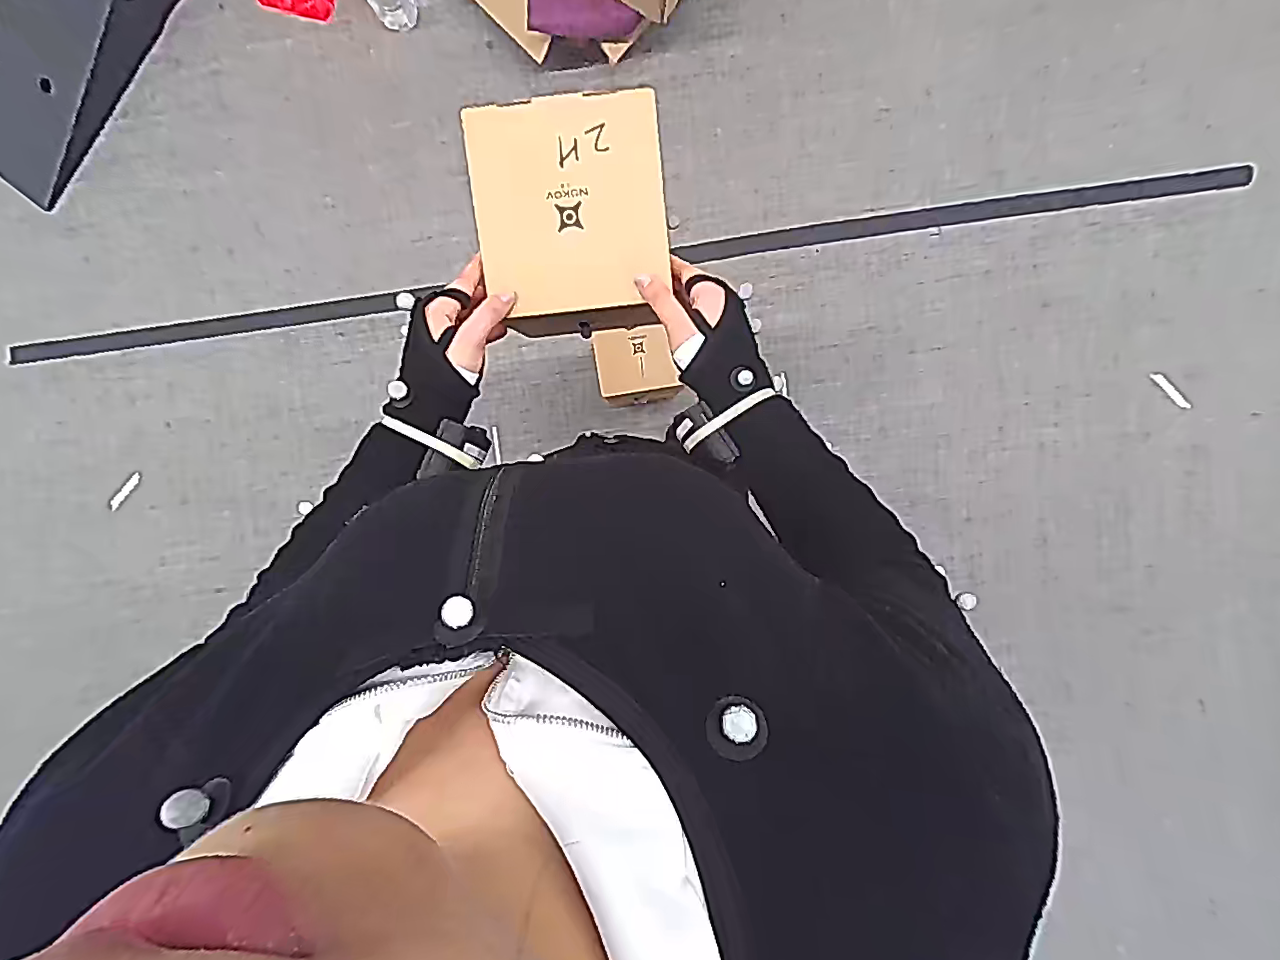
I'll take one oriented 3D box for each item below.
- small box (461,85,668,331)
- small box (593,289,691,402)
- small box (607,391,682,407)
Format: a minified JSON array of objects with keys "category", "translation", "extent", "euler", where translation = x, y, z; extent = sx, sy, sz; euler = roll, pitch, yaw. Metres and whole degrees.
[{"category":"small box","translation":[-0.061,-0.250,0.545],"extent":[0.168,0.176,0.179],"euler":[-6,98,1]},{"category":"small box","translation":[0.002,-0.255,1.060],"extent":[0.168,0.176,0.179],"euler":[-9,95,2]},{"category":"small box","translation":[0.001,-0.268,1.224],"extent":[0.168,0.176,0.179],"euler":[-9,94,2]}]
